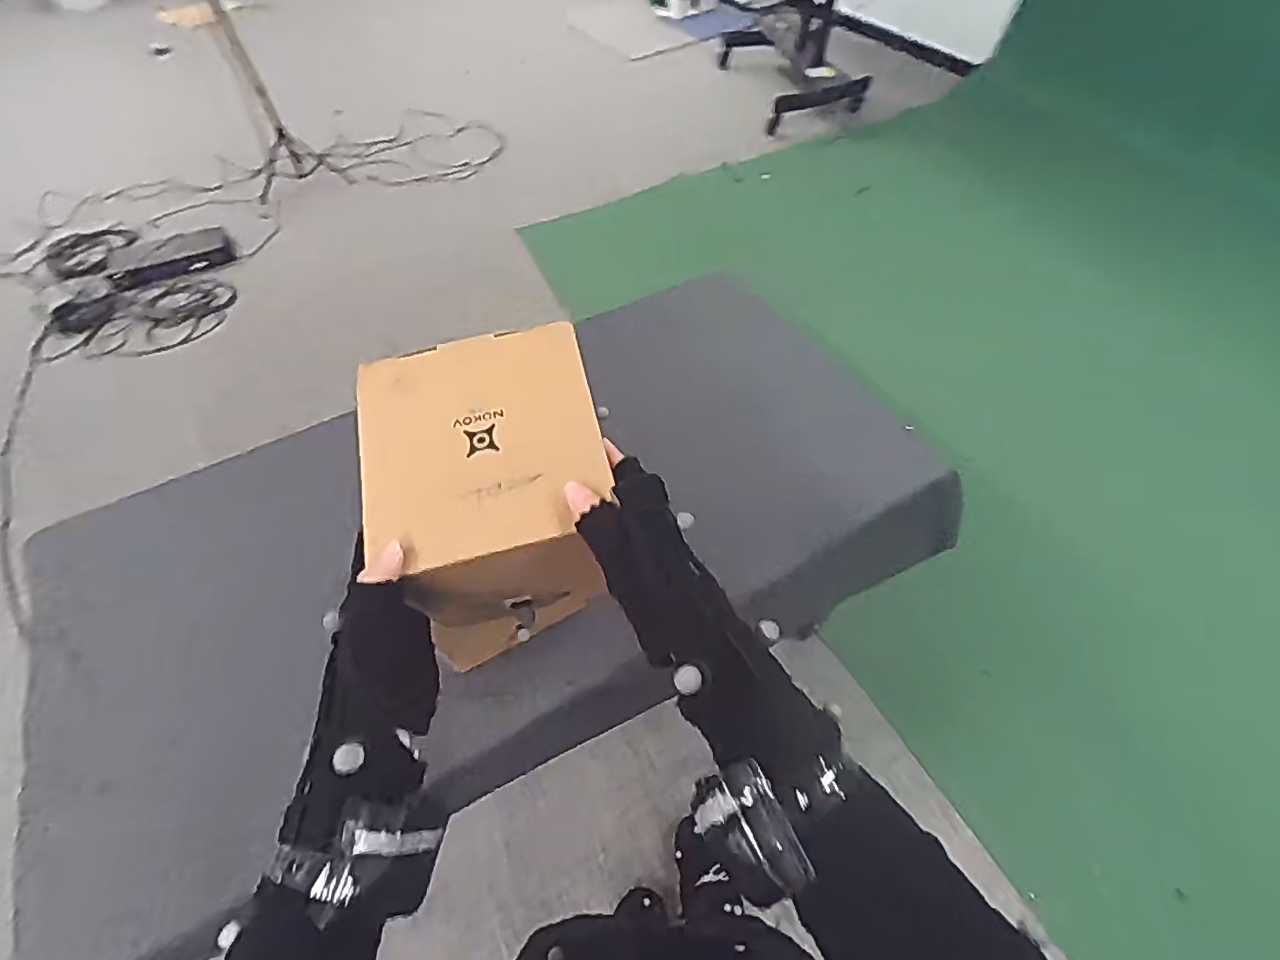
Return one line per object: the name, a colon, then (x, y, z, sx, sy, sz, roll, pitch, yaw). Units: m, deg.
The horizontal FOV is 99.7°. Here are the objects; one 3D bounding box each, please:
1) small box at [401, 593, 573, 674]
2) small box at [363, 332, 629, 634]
small box: (-0.186, 0.105, 0.661, 0.179, 0.176, 0.168, -26, 57, -16)
small box: (-0.107, 0.012, 0.448, 0.168, 0.176, 0.179, -13, 65, -4)
